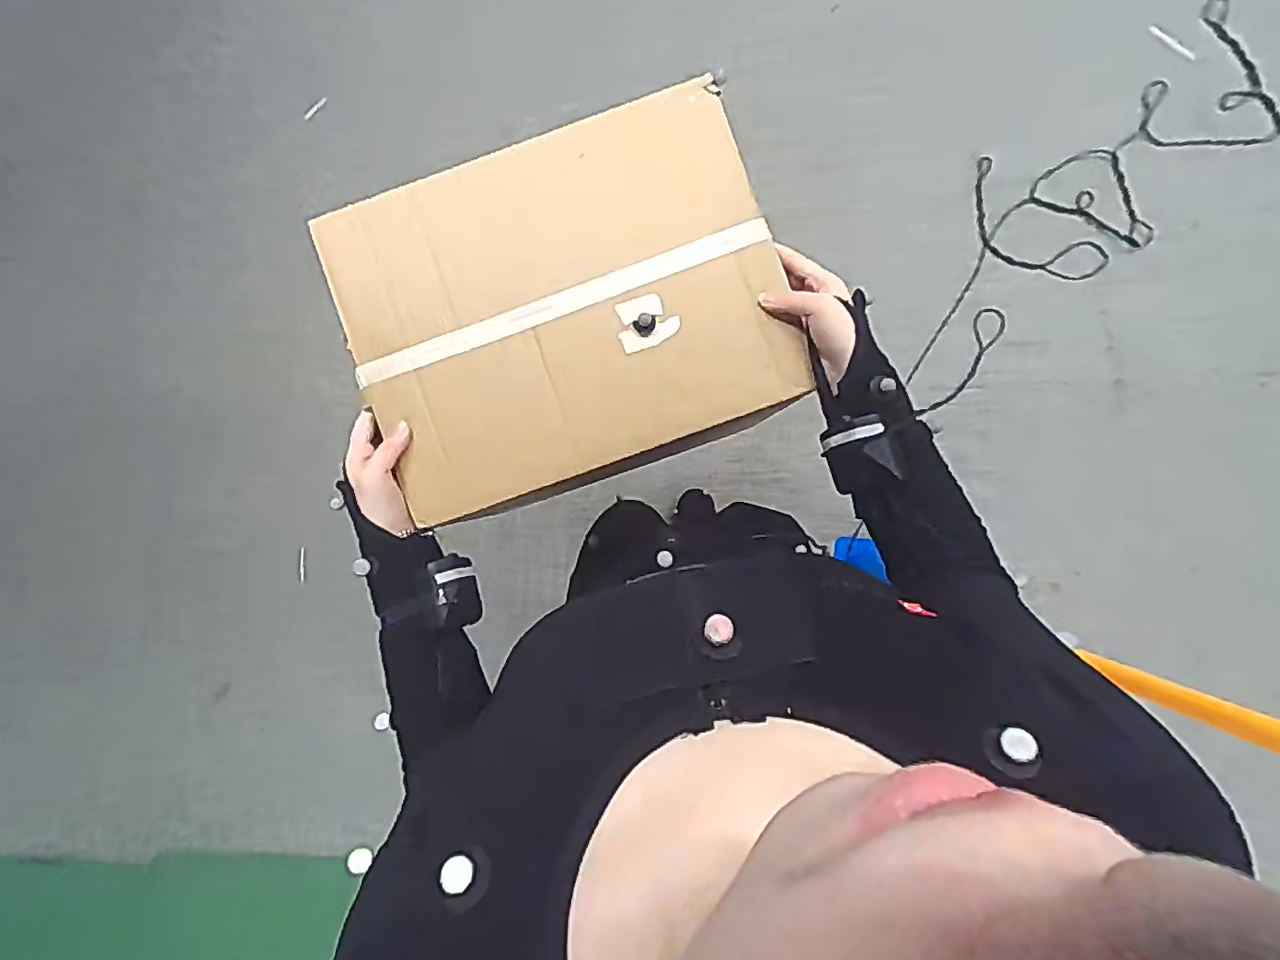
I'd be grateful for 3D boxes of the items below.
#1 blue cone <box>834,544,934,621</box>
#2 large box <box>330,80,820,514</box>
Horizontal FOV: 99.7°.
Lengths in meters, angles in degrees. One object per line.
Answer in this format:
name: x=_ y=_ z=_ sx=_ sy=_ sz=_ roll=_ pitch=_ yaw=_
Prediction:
blue cone: x=0.601 y=0.265 z=1.278 sx=0.193 sy=0.380 sz=0.192 roll=7 pitch=89 yaw=7
large box: x=-0.064 y=-0.171 z=0.662 sx=0.408 sy=0.320 sz=0.320 roll=-19 pitch=89 yaw=0
